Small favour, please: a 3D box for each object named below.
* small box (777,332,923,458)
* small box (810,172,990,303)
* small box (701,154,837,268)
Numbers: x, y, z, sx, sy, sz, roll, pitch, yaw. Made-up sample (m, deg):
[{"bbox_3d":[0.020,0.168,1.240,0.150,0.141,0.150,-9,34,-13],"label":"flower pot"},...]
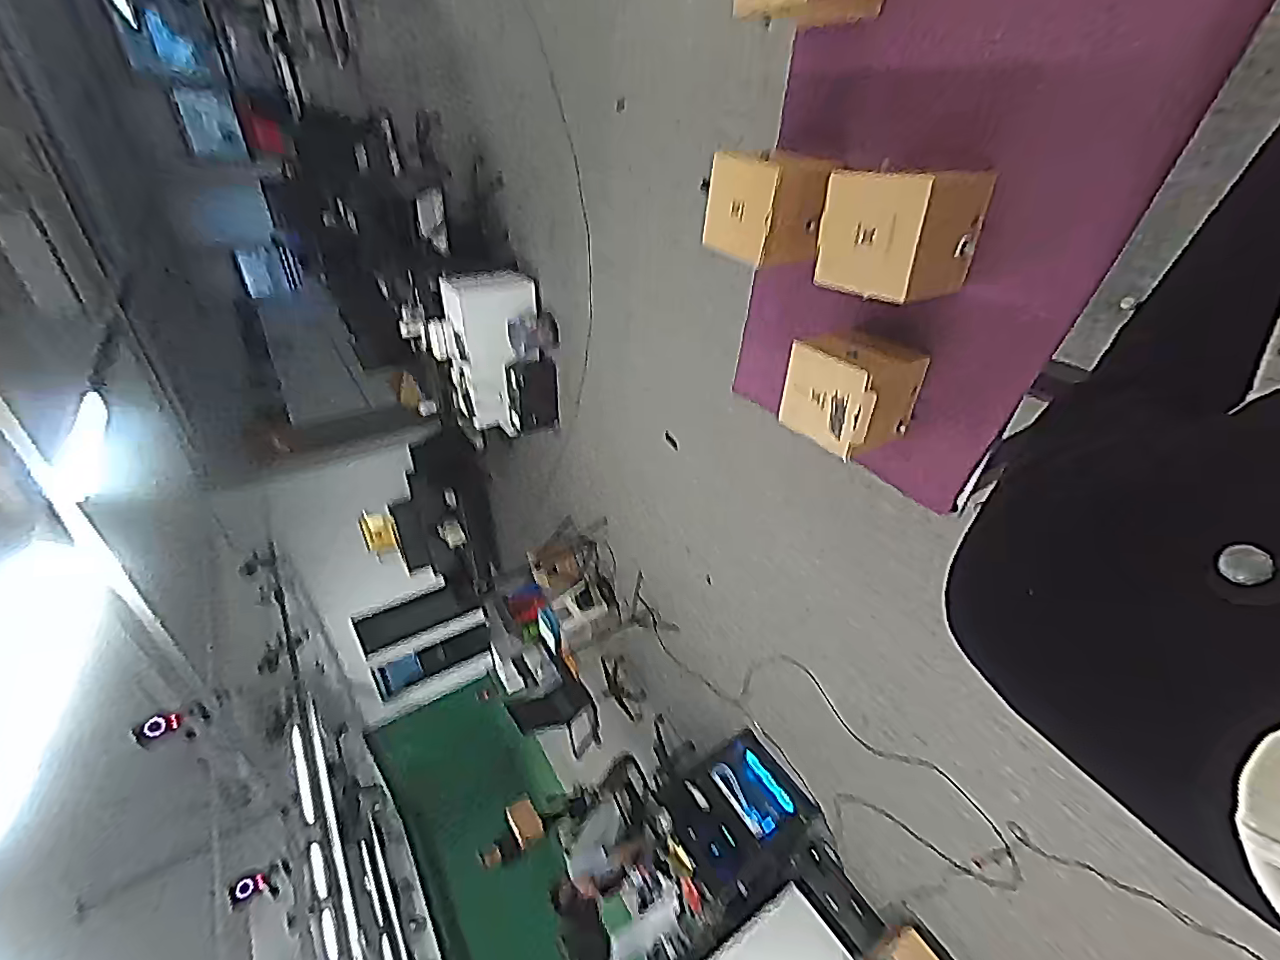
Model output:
[{"bbox_3d":[0.392,-0.169,1.019,0.179,0.176,0.168,42,141,44],"label":"small box"},{"bbox_3d":[0.406,-0.393,0.861,0.179,0.176,0.168,38,139,45],"label":"small box"},{"bbox_3d":[0.246,-0.527,1.052,0.179,0.176,0.168,44,141,39],"label":"small box"}]
